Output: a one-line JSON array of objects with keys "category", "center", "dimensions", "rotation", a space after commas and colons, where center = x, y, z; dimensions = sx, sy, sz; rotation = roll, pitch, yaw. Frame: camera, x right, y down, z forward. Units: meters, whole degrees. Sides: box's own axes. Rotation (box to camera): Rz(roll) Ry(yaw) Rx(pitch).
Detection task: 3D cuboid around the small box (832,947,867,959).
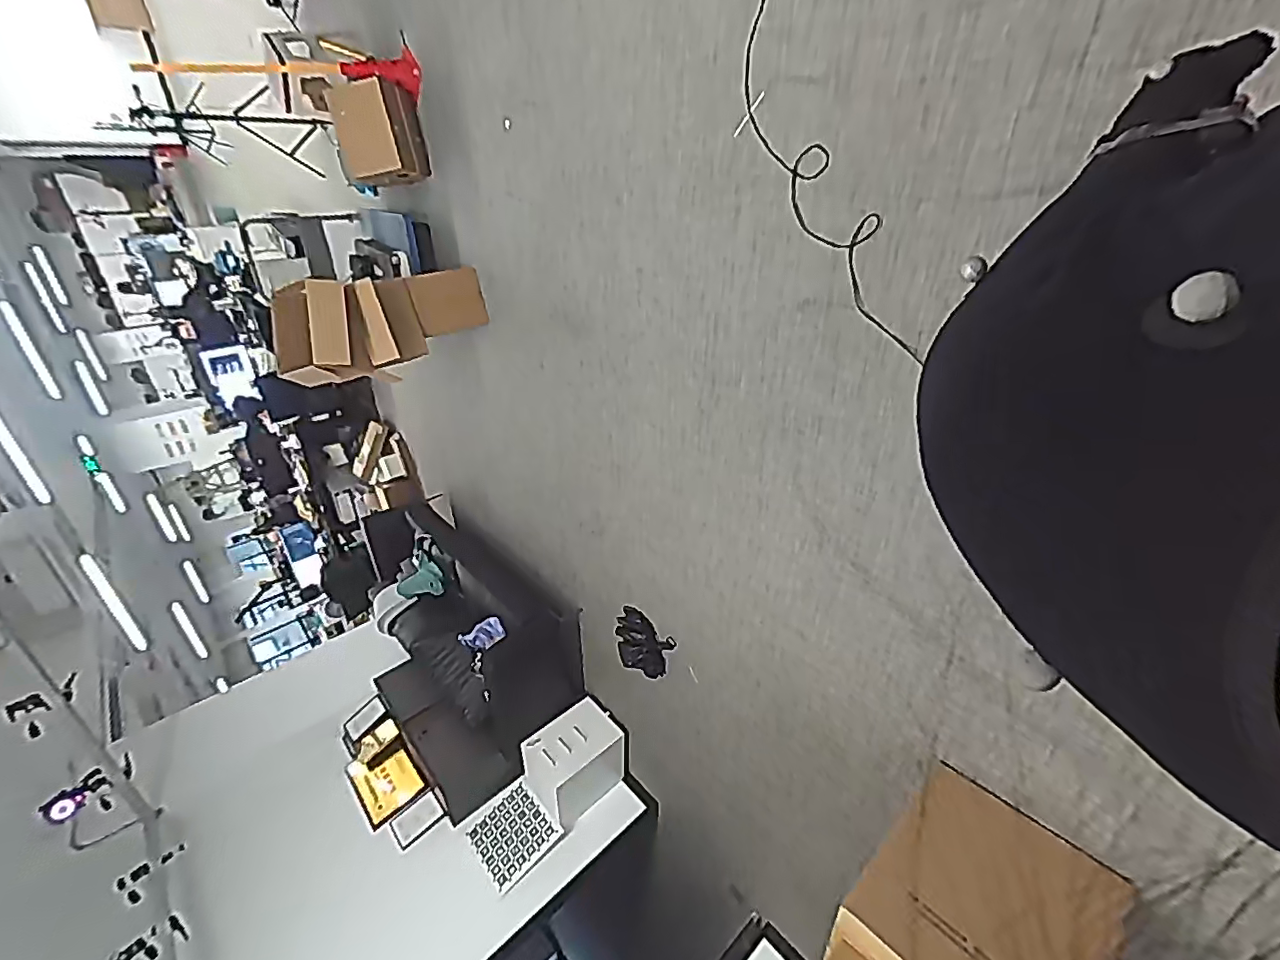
[{"category": "small box", "center": [0.566, 1.382, 1.411], "dimensions": [0.179, 0.176, 0.168], "rotation": [17, 121, 45]}]
